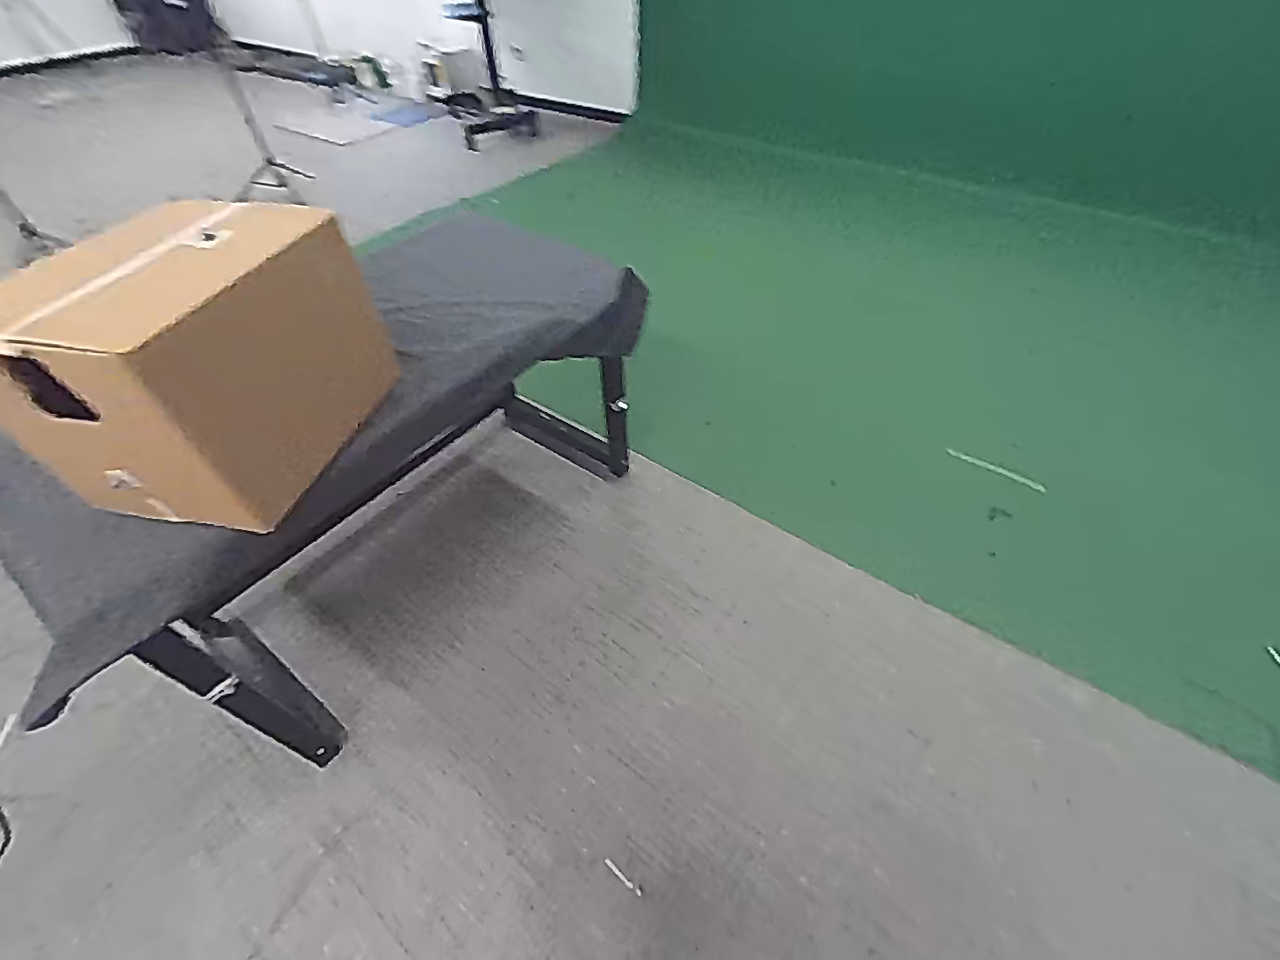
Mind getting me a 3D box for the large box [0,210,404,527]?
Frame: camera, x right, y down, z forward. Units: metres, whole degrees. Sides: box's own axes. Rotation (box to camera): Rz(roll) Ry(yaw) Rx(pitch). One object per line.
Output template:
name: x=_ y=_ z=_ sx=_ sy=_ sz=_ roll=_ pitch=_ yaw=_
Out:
large box: x=-0.645 y=-0.182 z=0.843 sx=0.320 sy=0.320 sz=0.408 roll=7 pitch=46 yaw=8
